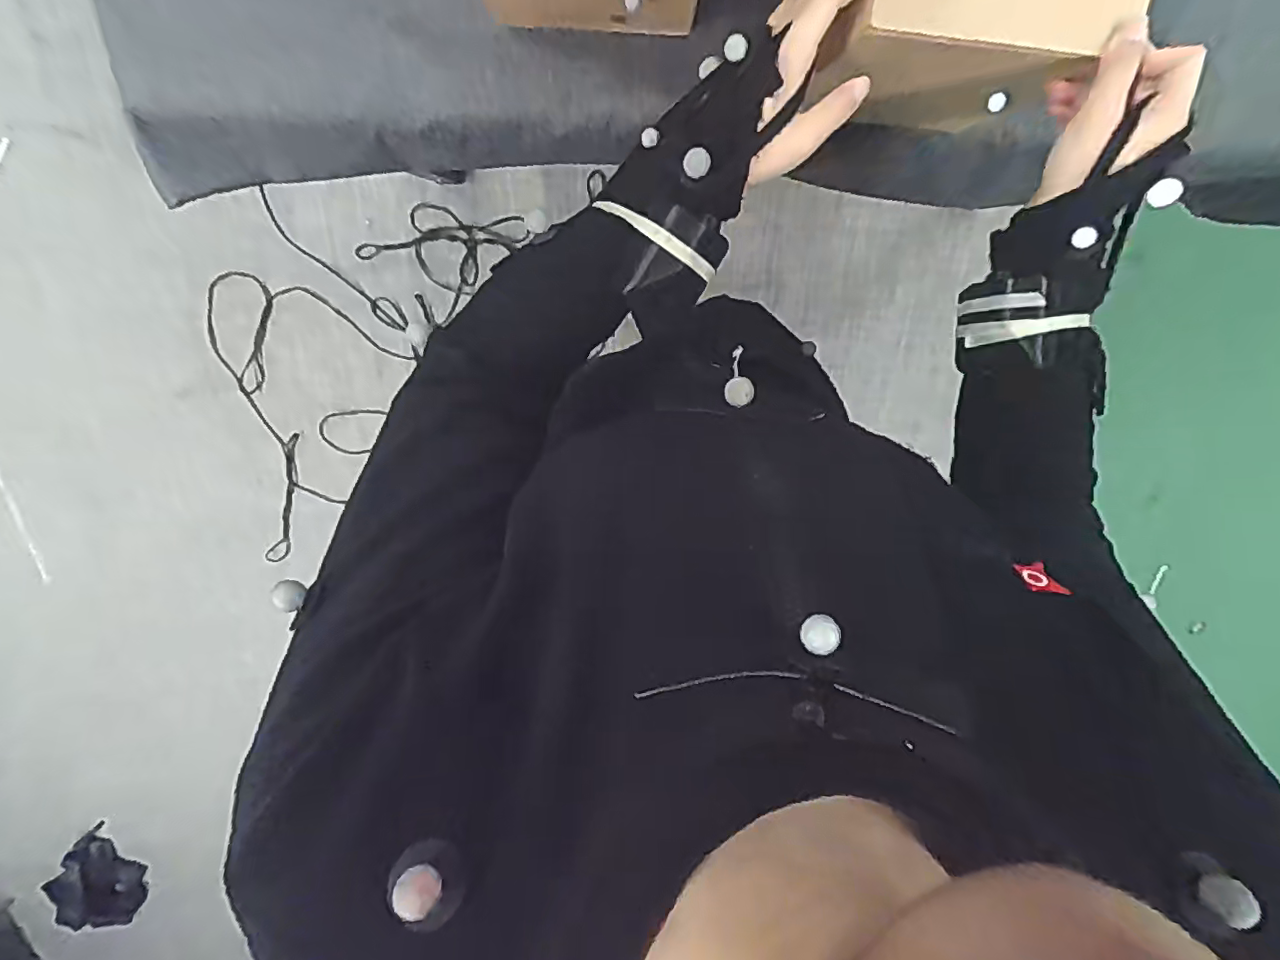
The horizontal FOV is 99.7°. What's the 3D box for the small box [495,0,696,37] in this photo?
[{"bbox_3d":[-0.034,-0.435,0.362,0.168,0.176,0.179,2,110,-1],"label":"small box"}]
